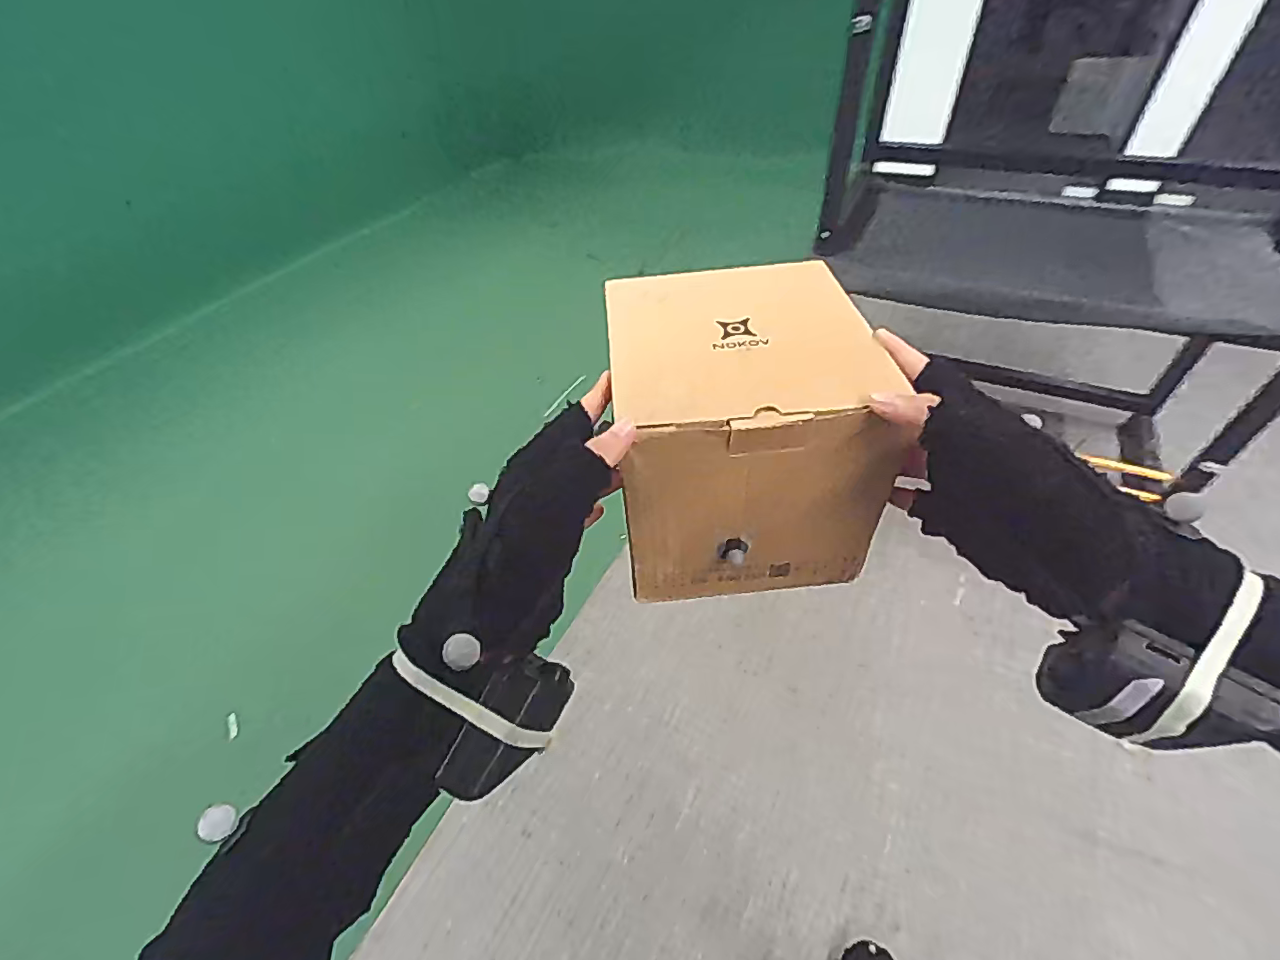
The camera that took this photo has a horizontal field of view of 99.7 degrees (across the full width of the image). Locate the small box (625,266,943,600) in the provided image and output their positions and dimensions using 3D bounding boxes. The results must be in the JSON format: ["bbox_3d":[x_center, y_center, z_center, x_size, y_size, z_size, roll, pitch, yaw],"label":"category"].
[{"bbox_3d":[0.077,-0.035,0.397,0.168,0.176,0.179,-5,46,-1],"label":"small box"}]
